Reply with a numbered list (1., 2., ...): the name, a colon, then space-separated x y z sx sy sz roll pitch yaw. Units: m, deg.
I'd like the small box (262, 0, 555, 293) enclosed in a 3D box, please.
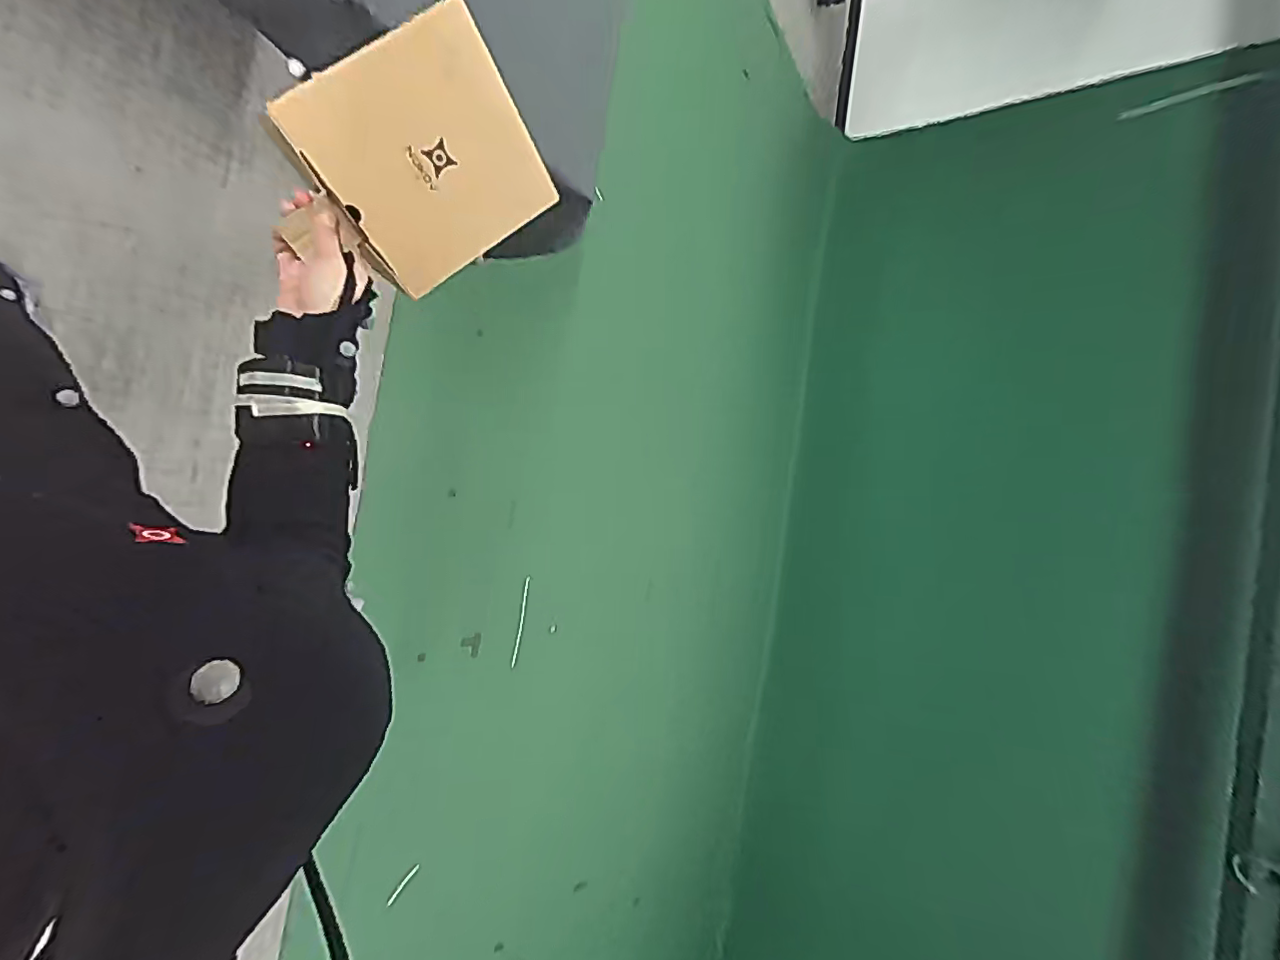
1. small box: -0.218 -0.312 0.508 0.179 0.176 0.168 -41 135 -8
